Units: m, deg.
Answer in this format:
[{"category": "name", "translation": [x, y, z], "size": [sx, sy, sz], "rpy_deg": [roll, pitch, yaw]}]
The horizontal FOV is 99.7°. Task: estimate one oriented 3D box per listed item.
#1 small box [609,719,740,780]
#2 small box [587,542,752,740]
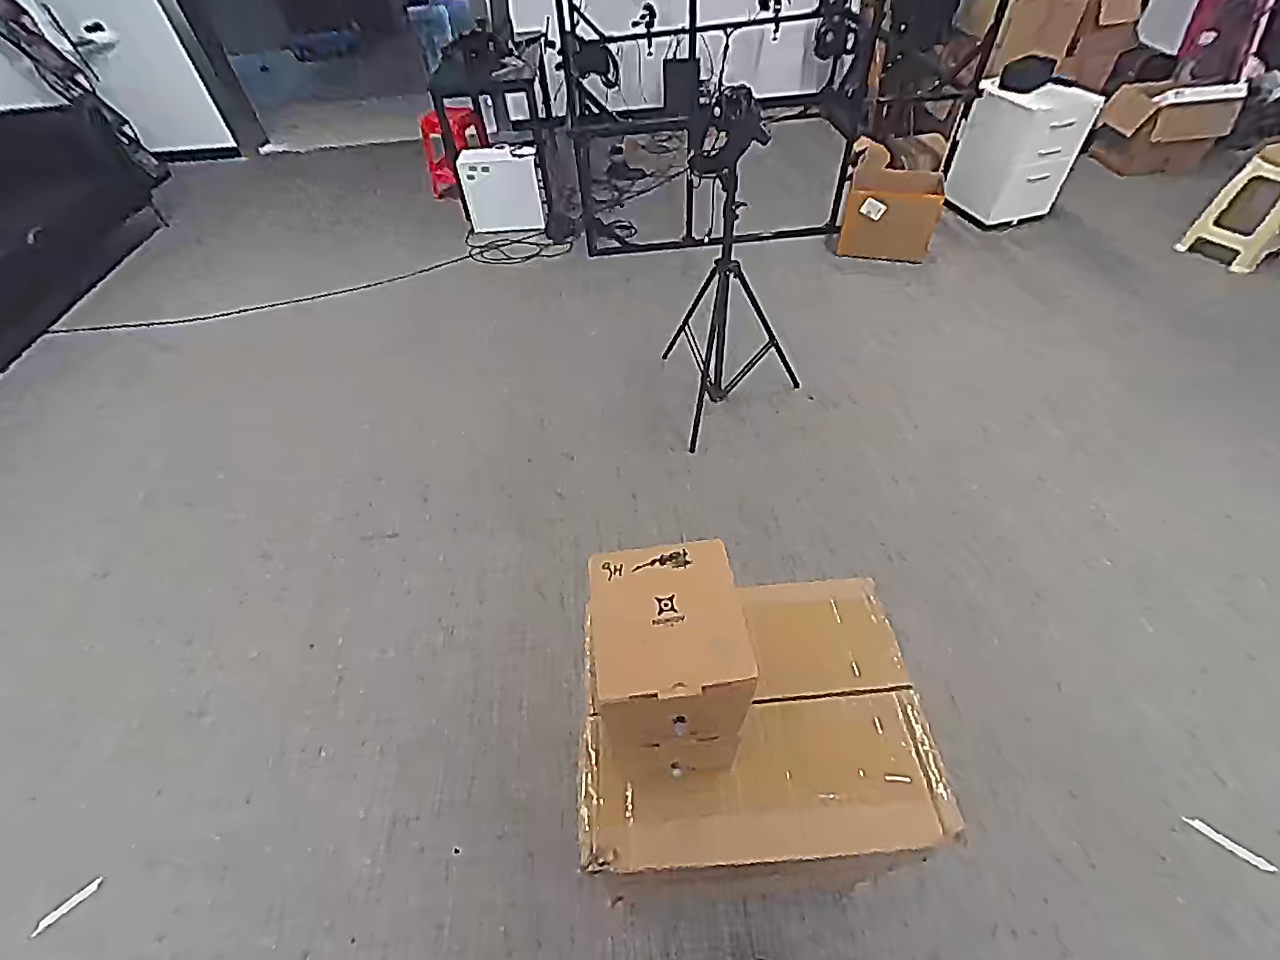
[{"category": "small box", "translation": [0.039, 0.310, 0.779], "size": [0.168, 0.176, 0.179], "rpy_deg": [-6, 49, -2]}, {"category": "small box", "translation": [0.030, 0.201, 0.657], "size": [0.168, 0.176, 0.179], "rpy_deg": [-7, 50, -3]}]
